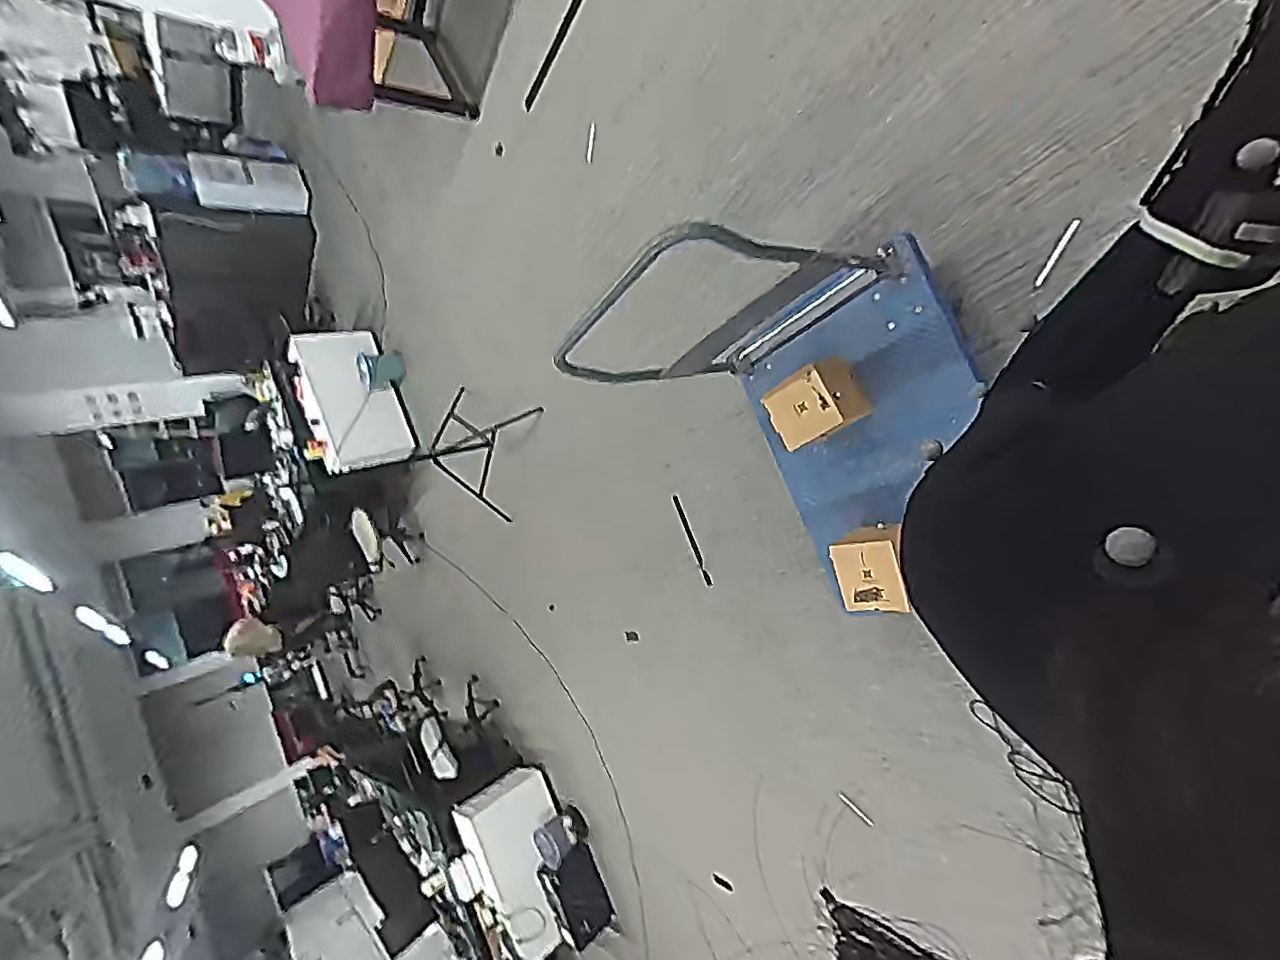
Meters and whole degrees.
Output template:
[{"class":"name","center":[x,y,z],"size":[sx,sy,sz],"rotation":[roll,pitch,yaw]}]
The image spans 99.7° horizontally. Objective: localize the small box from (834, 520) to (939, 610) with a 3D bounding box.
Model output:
[{"class":"small box","center":[0.623,0.212,1.360],"size":[0.168,0.176,0.179],"rotation":[-15,91,50]}]

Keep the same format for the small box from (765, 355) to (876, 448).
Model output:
[{"class":"small box","center":[0.465,-0.203,1.391],"size":[0.179,0.176,0.168],"rotation":[-37,76,50]}]
